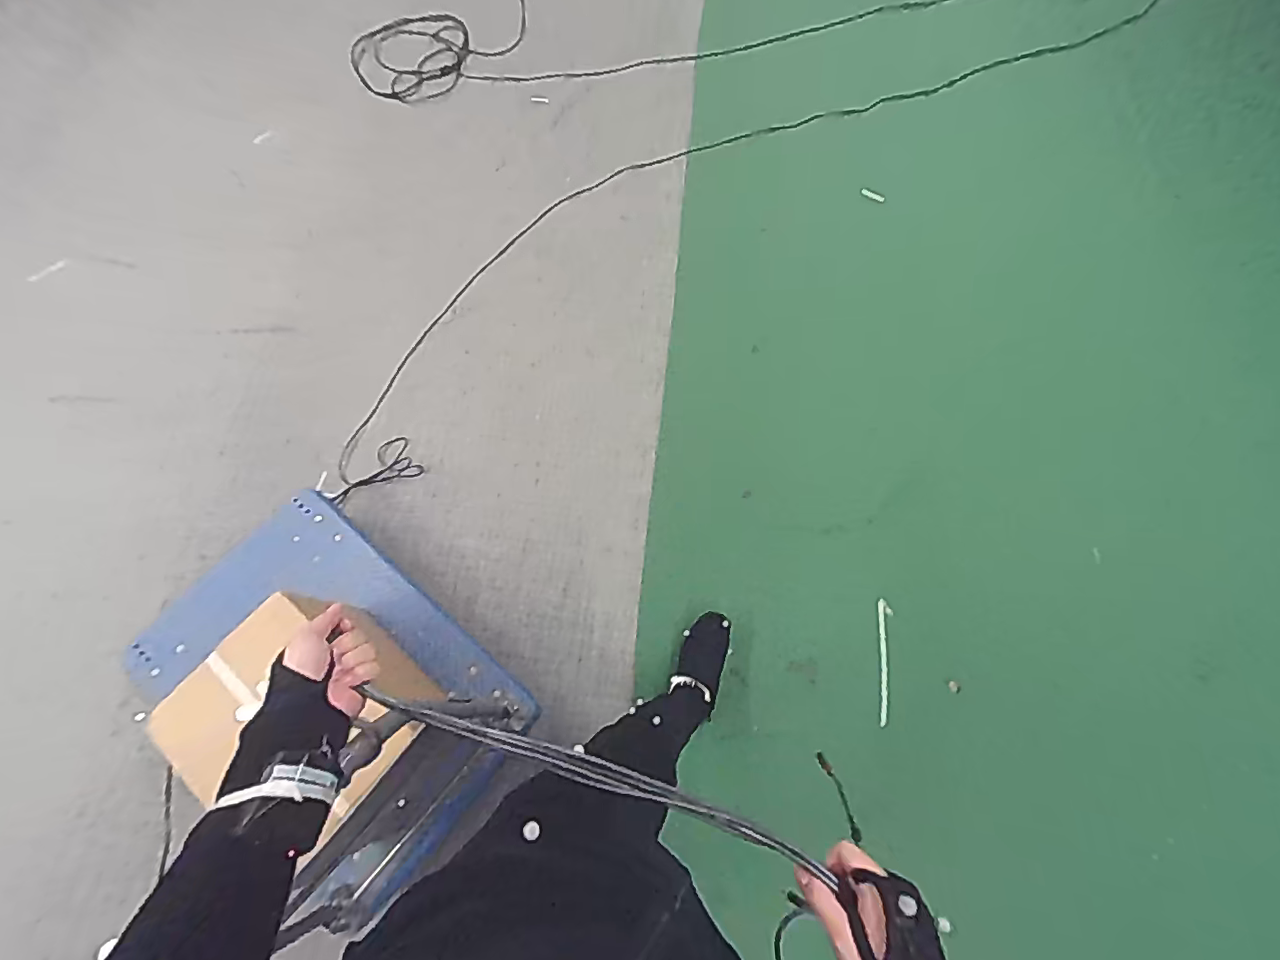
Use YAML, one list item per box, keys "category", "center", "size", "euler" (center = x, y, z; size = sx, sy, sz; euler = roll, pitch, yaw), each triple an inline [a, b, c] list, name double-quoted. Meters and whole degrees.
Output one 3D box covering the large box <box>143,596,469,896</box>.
- category: "large box"
  center: [-0.630, 0.497, 1.088]
  size: [0.408, 0.320, 0.320]
  euler: [37, 74, 15]
